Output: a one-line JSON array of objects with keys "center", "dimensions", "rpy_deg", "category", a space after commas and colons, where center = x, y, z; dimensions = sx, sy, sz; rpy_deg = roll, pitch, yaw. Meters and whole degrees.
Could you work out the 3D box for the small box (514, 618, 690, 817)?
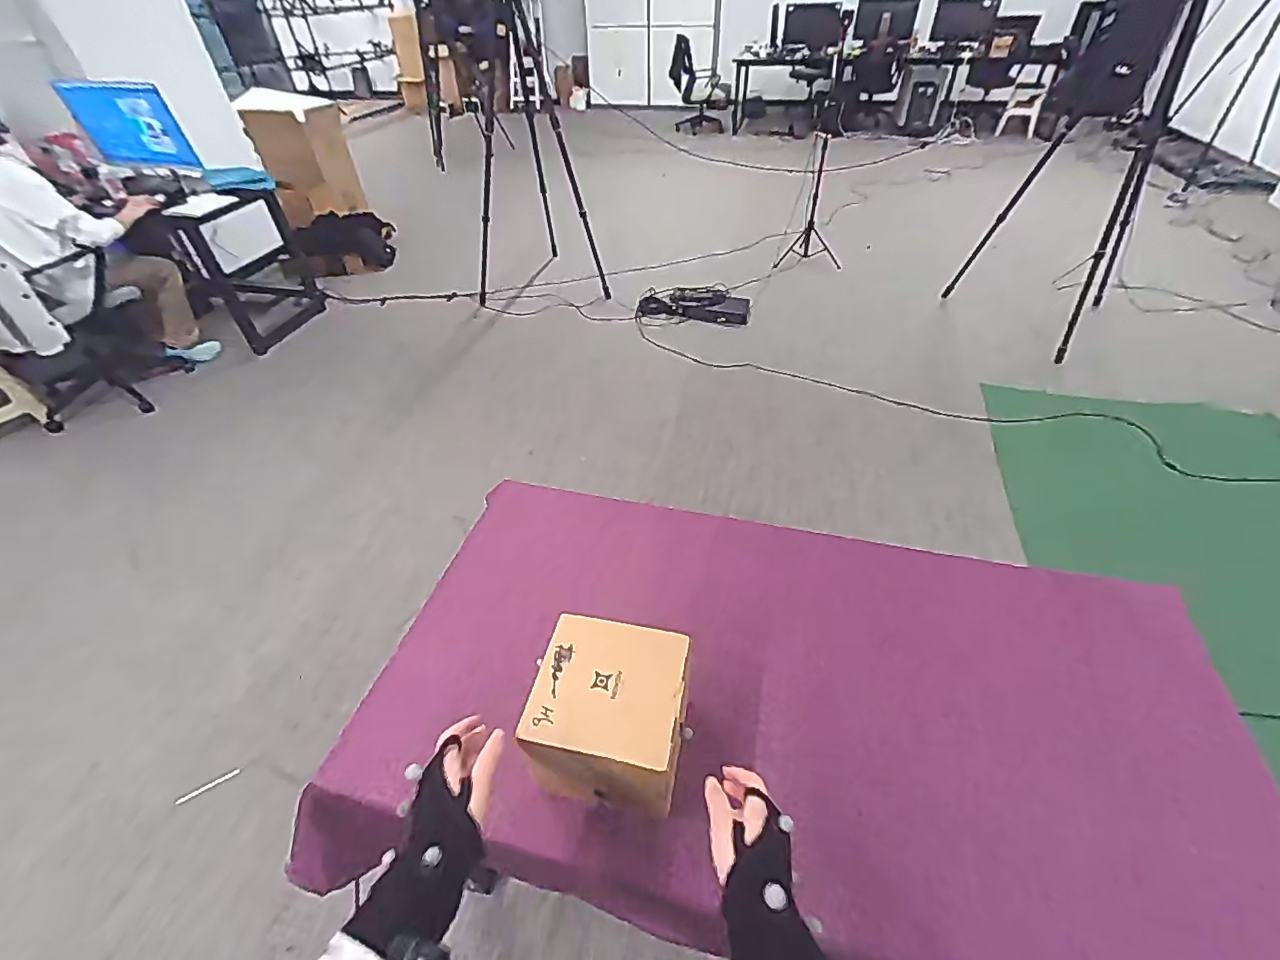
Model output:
[{"center": [-0.037, 0.307, 0.695], "dimensions": [0.179, 0.176, 0.168], "rpy_deg": [8, 43, 10], "category": "small box"}]
